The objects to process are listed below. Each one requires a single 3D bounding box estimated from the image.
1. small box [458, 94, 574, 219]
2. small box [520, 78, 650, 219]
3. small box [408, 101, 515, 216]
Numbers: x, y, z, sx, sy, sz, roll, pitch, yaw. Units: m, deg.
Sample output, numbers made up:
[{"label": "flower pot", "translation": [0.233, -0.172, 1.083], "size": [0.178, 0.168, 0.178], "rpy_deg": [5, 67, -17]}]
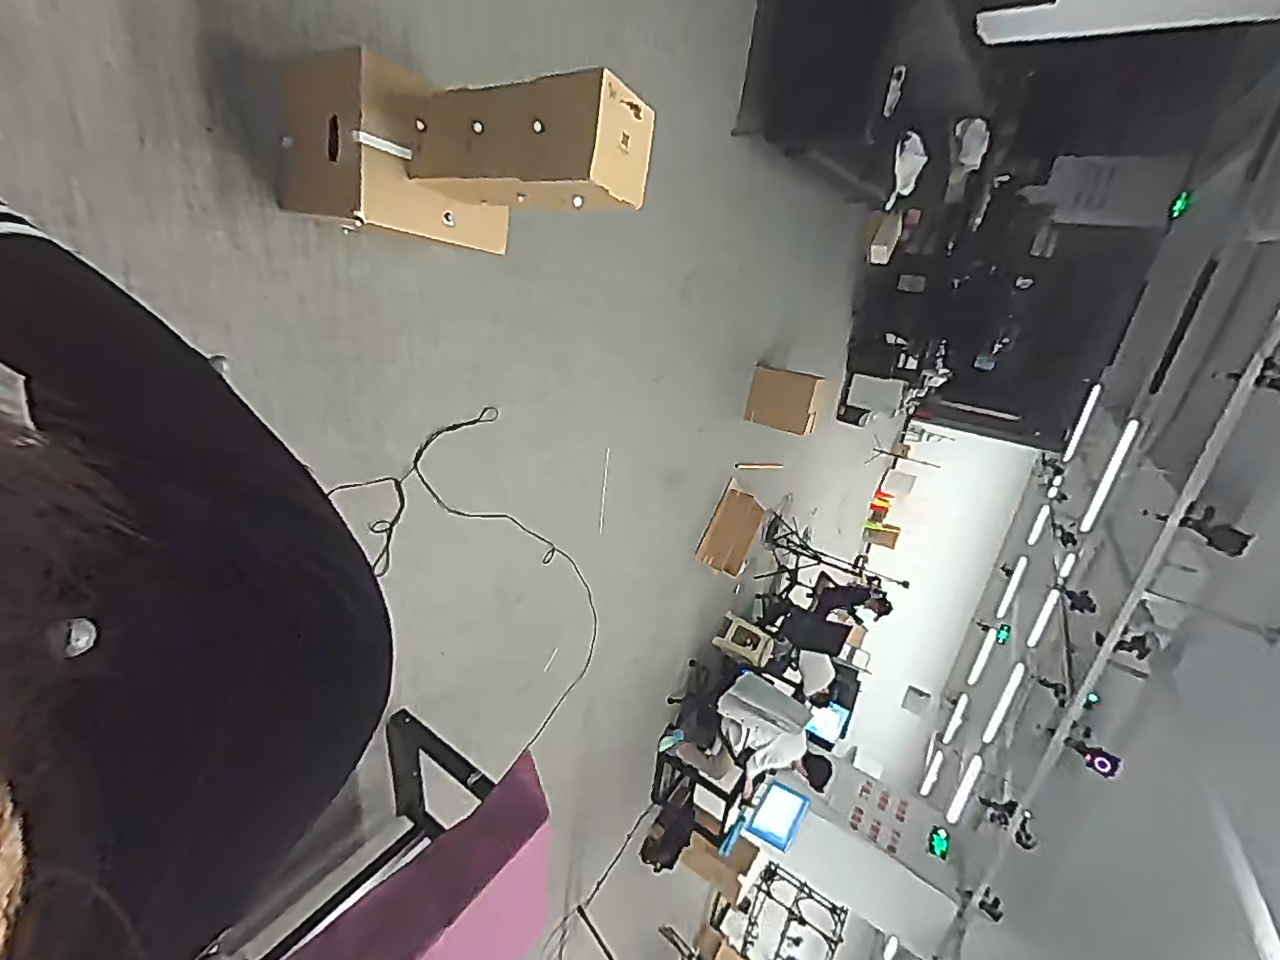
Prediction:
[{"label": "small box", "translation": [-0.241, -0.651, 1.106], "size": [0.179, 0.176, 0.168], "rpy_deg": [-7, 110, -57]}, {"label": "small box", "translation": [-0.106, -0.612, 1.021], "size": [0.168, 0.176, 0.179], "rpy_deg": [-9, 113, -58]}, {"label": "small box", "translation": [-0.377, -0.696, 1.186], "size": [0.179, 0.176, 0.168], "rpy_deg": [-9, 112, -57]}]
